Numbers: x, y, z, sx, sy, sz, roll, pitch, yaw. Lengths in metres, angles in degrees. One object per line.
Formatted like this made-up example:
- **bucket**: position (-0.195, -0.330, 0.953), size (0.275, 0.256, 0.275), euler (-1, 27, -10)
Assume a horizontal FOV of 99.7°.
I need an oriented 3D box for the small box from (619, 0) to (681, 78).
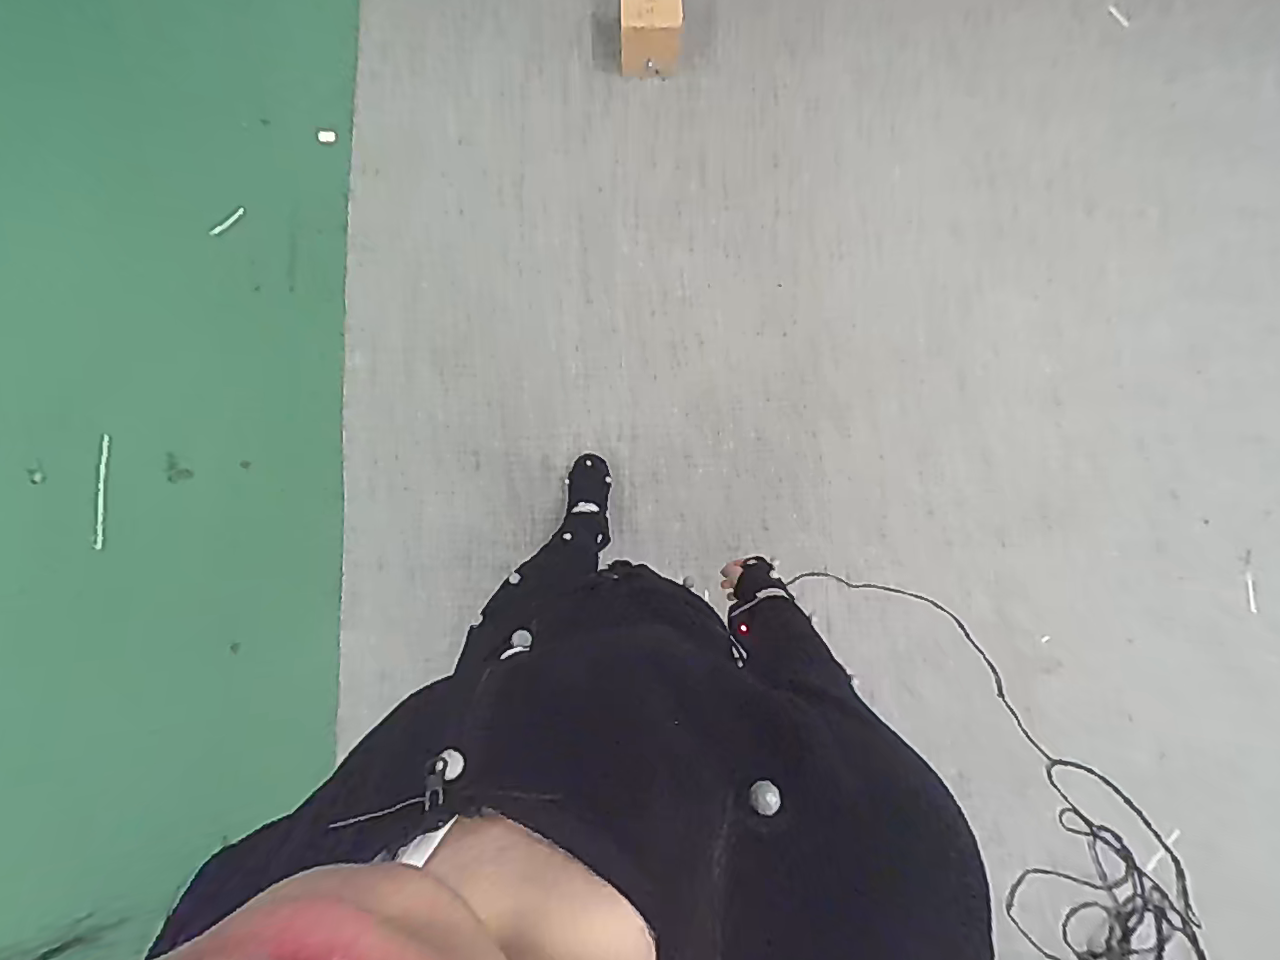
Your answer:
- **small box**: position (0.025, -1.277, 1.512), size (0.168, 0.176, 0.179), euler (0, 87, 0)
